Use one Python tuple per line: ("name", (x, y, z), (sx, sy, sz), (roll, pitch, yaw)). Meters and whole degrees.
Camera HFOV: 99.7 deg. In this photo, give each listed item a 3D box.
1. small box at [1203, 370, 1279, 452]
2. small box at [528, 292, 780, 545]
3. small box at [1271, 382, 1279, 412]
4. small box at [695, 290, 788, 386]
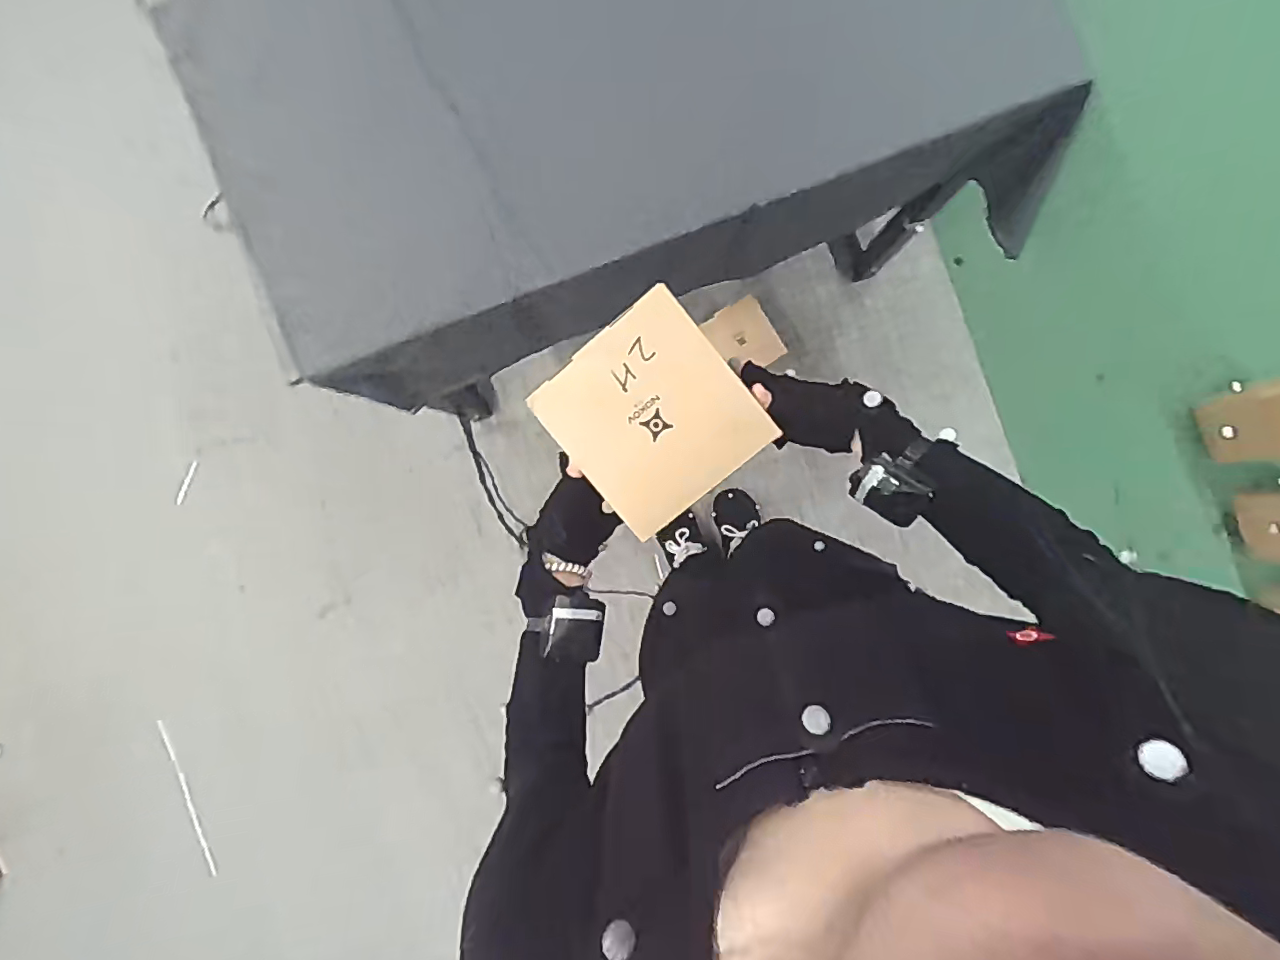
("small box", (1.550, -0.171, 1.322), (0.179, 0.176, 0.168), (-21, 89, 4))
("small box", (0.018, -0.065, 0.569), (0.168, 0.176, 0.179), (-39, 94, 9))
("small box", (1.542, -0.166, 1.159), (0.168, 0.176, 0.179), (-22, 89, 3))
("small box", (0.251, -0.350, 1.394), (0.168, 0.176, 0.179), (-32, 88, 4))
